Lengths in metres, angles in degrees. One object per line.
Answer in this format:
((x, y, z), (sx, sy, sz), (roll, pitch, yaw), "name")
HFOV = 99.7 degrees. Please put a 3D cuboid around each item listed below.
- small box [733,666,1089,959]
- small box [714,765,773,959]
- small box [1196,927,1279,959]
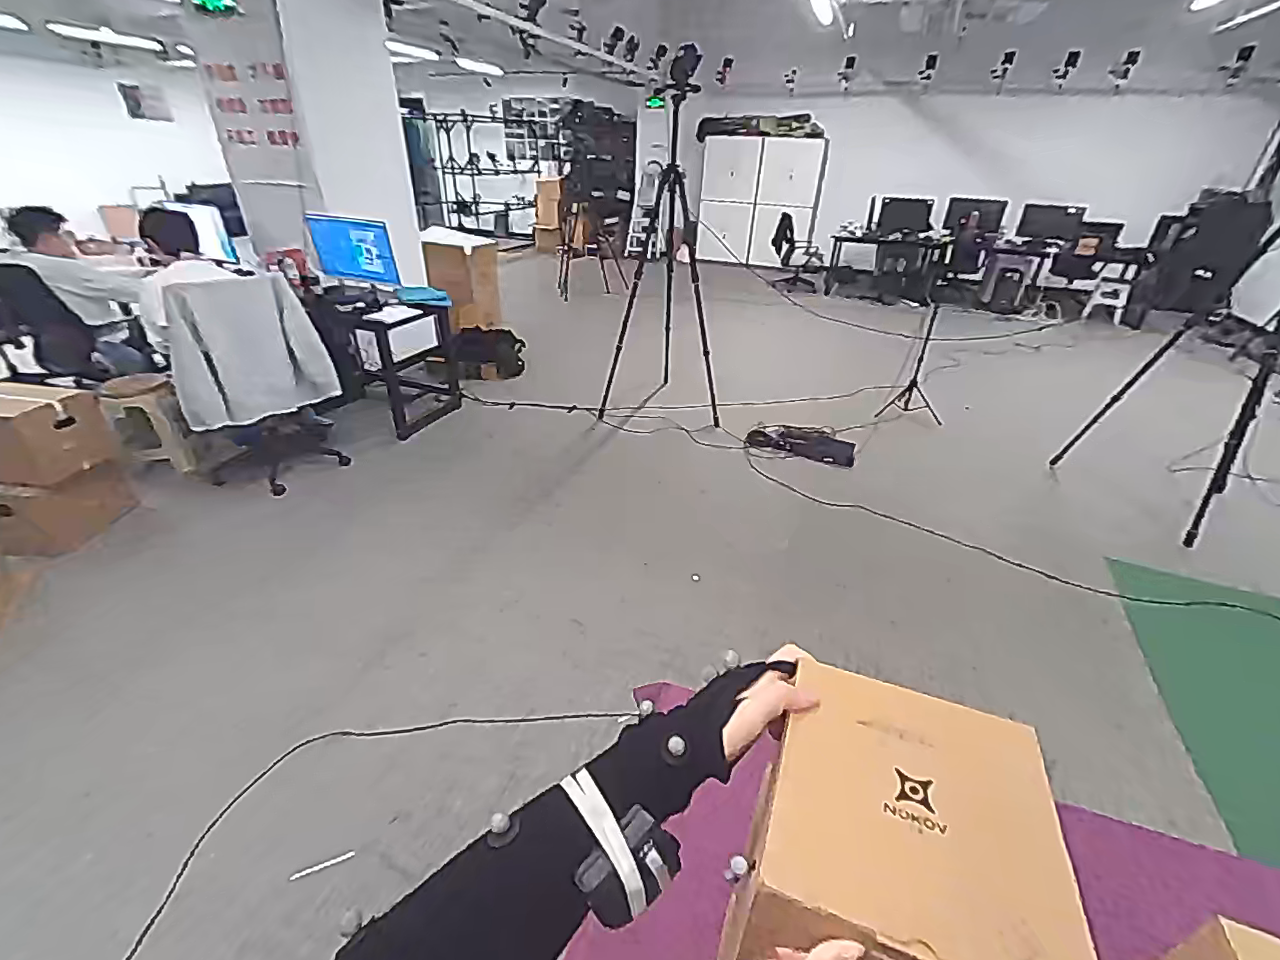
((0.168, 0.274, 0.378), (0.168, 0.176, 0.179), (14, 32, 17), "small box")
((0.162, 0.405, 0.476), (0.168, 0.176, 0.179), (14, 32, 18), "small box")
((0.489, 0.483, 0.377), (0.168, 0.176, 0.179), (15, 33, 20), "small box")
